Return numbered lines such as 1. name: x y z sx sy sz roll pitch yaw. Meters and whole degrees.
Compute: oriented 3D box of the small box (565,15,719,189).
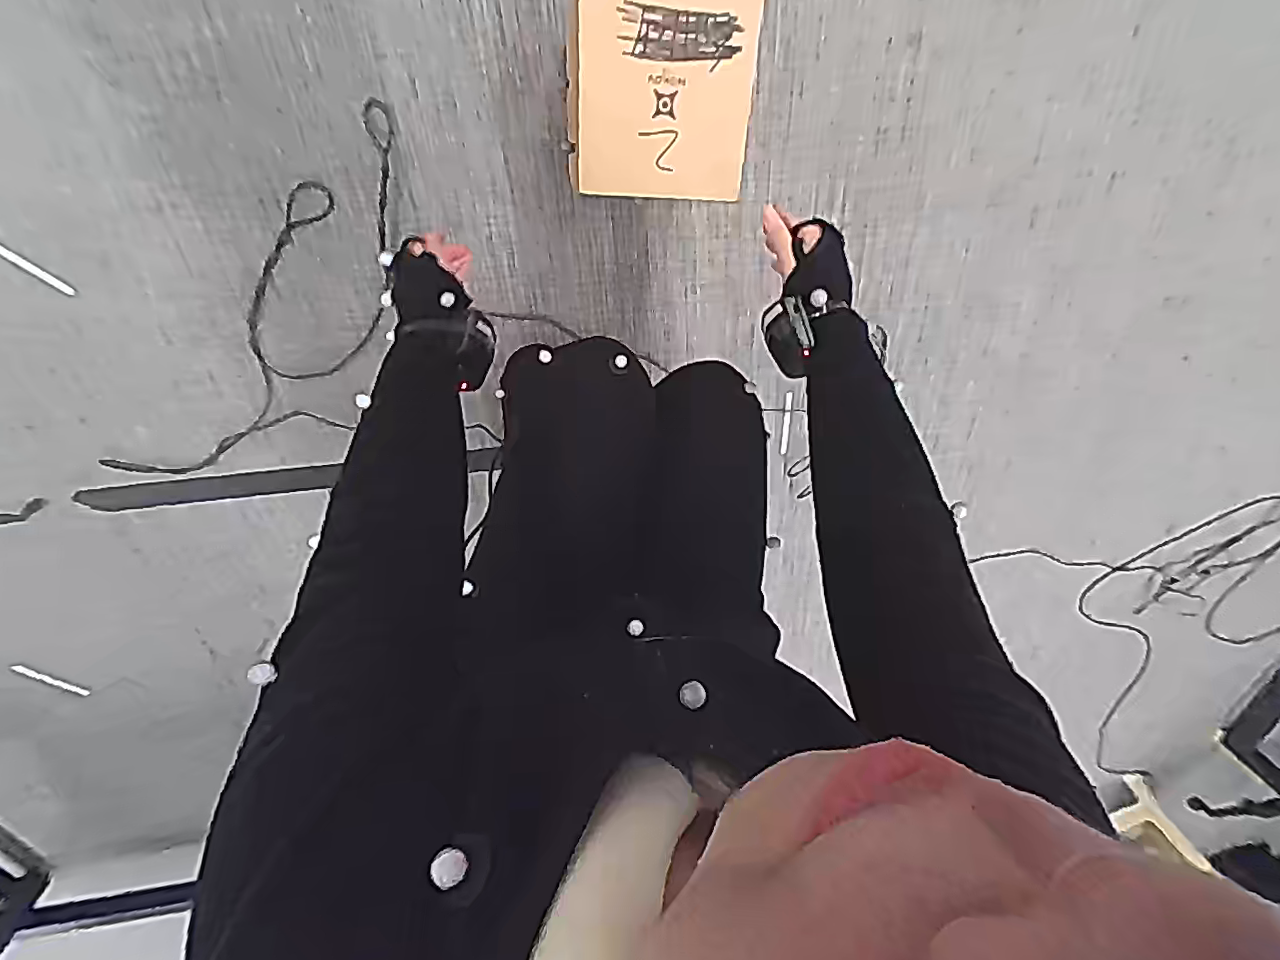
1. small box: -0.009 -0.482 0.713 0.179 0.176 0.168 -2 121 -8
